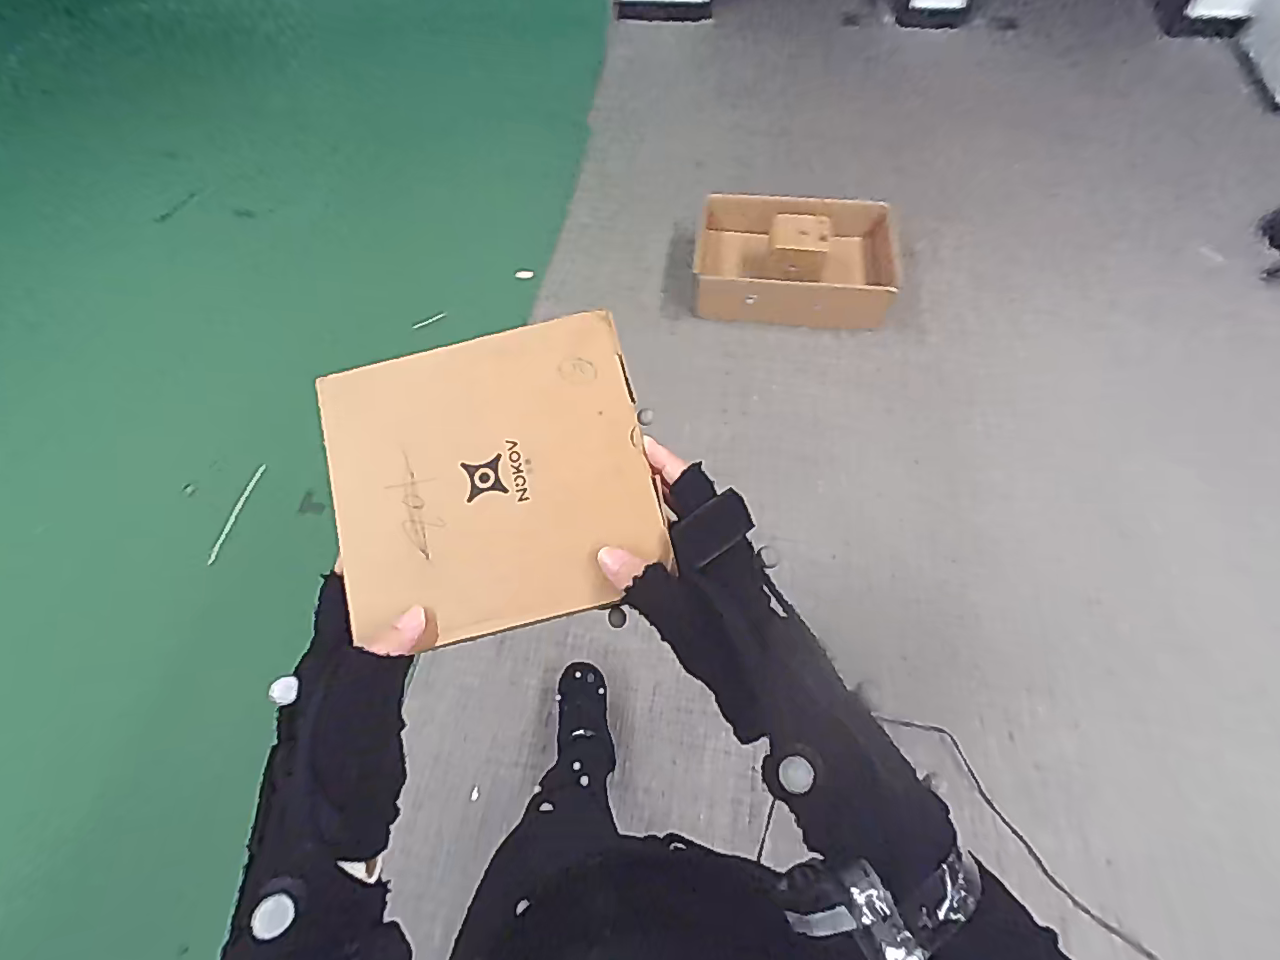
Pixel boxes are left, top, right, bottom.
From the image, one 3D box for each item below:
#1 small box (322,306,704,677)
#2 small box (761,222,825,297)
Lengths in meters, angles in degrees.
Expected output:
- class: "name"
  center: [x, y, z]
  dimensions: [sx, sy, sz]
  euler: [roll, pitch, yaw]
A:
- class: "small box"
  center: [-0.072, 0.015, 0.369]
  dimensions: [0.179, 0.176, 0.168]
  euler: [-18, 78, -3]
- class: "small box"
  center: [0.496, -0.723, 1.779]
  dimensions: [0.179, 0.176, 0.168]
  euler: [4, 61, 4]
